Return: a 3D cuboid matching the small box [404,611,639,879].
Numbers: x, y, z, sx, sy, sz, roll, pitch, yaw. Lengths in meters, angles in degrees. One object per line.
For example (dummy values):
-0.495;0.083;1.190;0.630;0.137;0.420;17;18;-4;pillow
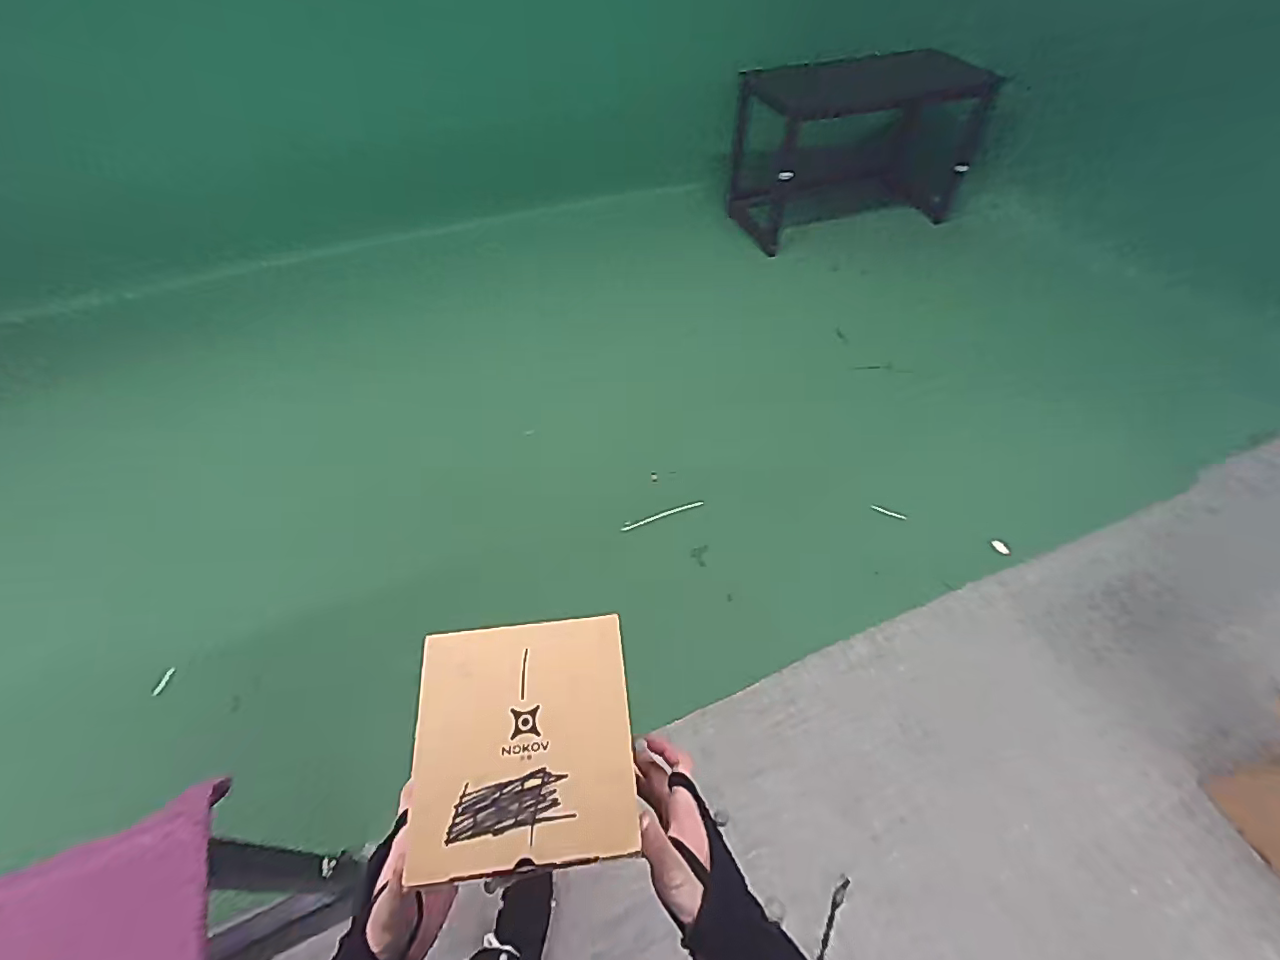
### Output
-0.089;0.235;0.484;0.168;0.176;0.179;-5;56;-4;small box
